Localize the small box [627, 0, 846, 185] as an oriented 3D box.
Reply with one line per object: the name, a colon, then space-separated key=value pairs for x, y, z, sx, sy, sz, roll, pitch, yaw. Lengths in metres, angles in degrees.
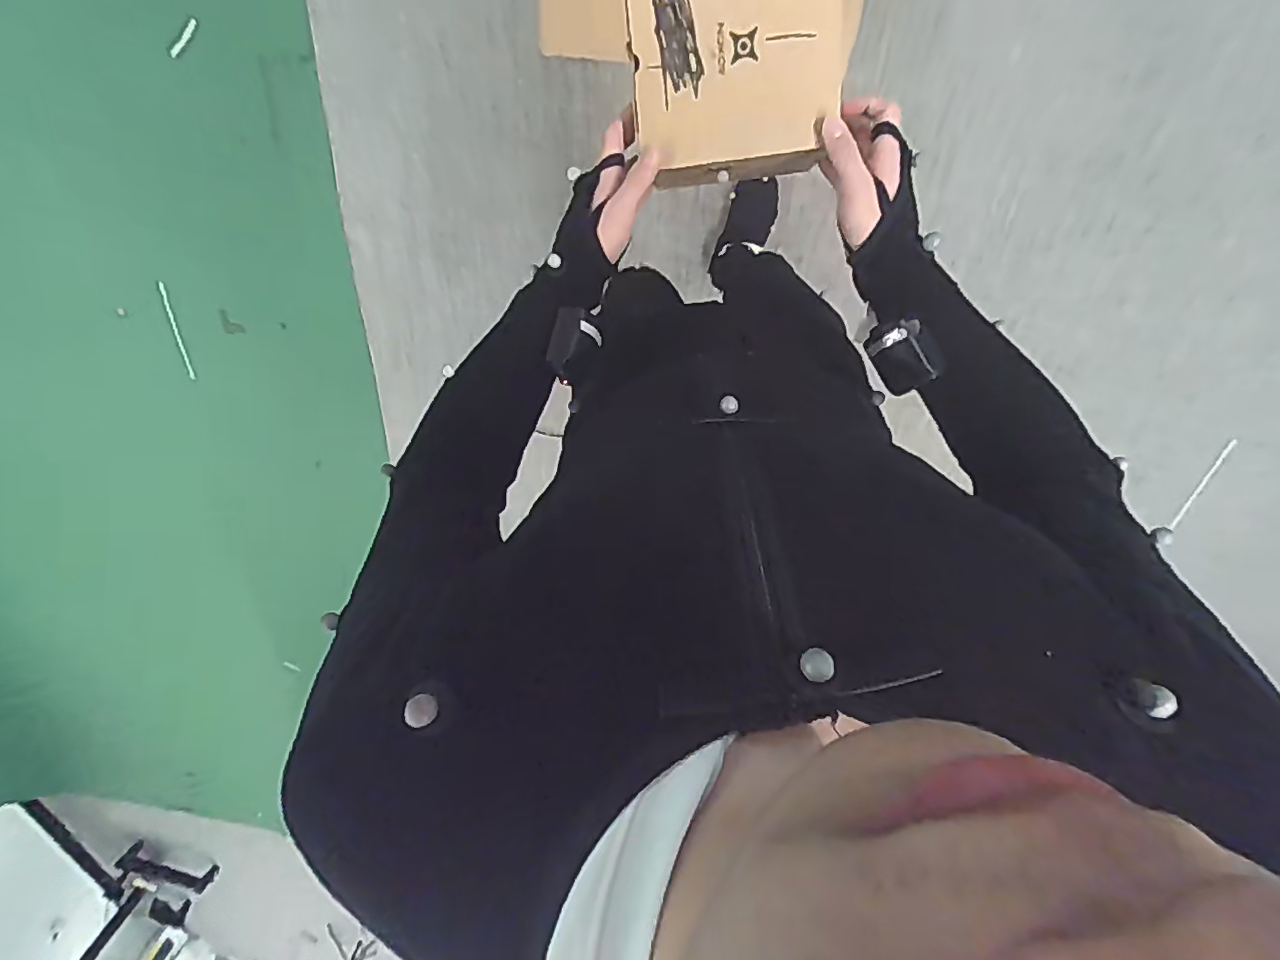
small box: x=0.089 y=-0.391 z=0.518 sx=0.179 sy=0.176 sz=0.168 roll=-3 pitch=113 yaw=8
